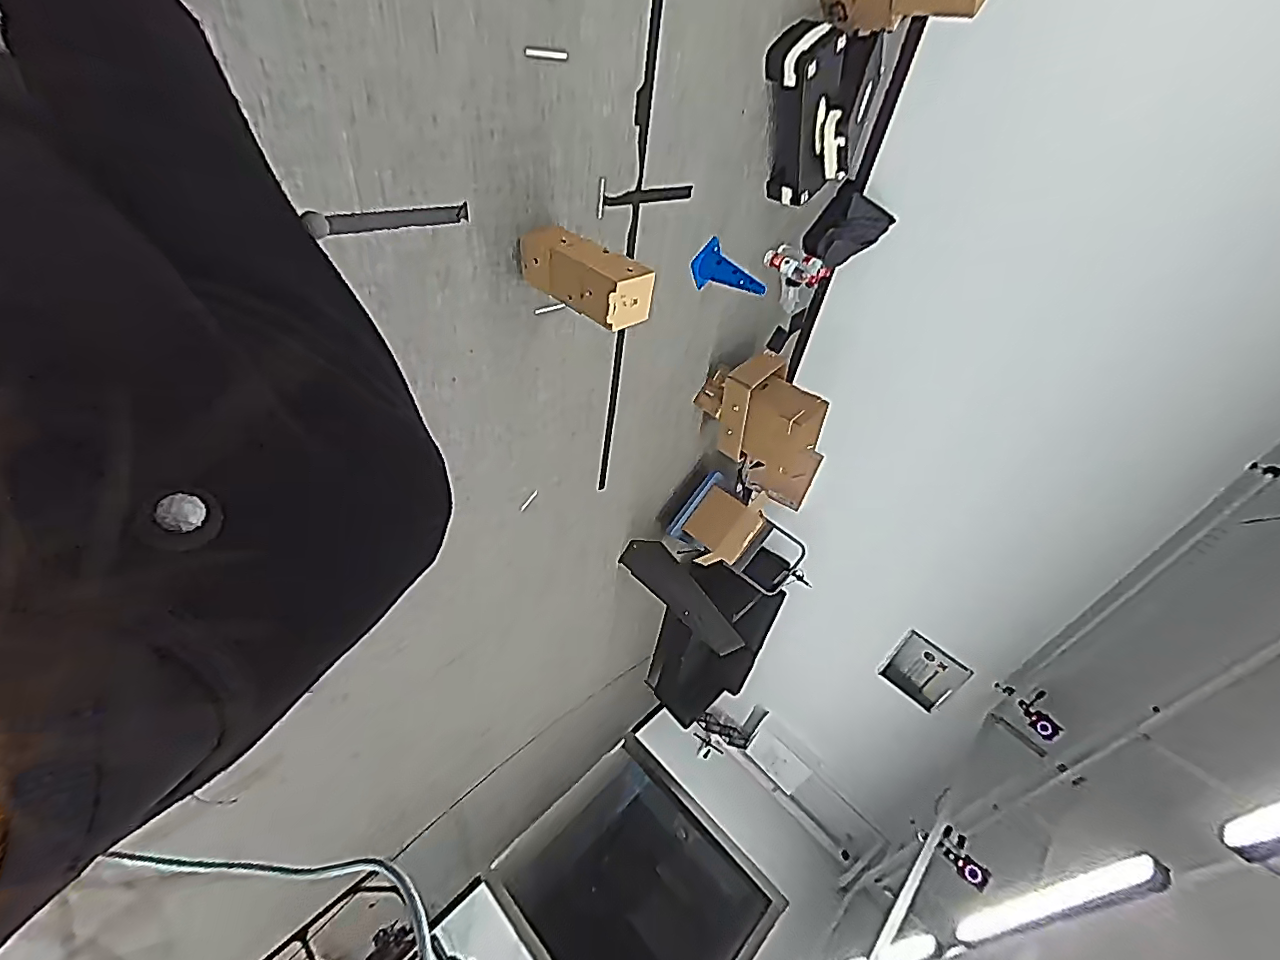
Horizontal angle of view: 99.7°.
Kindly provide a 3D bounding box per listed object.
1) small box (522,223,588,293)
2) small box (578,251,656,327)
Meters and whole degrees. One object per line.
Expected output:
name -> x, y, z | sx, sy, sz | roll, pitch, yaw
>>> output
small box -> -0.306, -0.789, 1.913 | 0.179, 0.176, 0.168 | -33, 147, -33
small box -> -0.076, -0.621, 1.742 | 0.179, 0.176, 0.168 | -30, 146, -36
